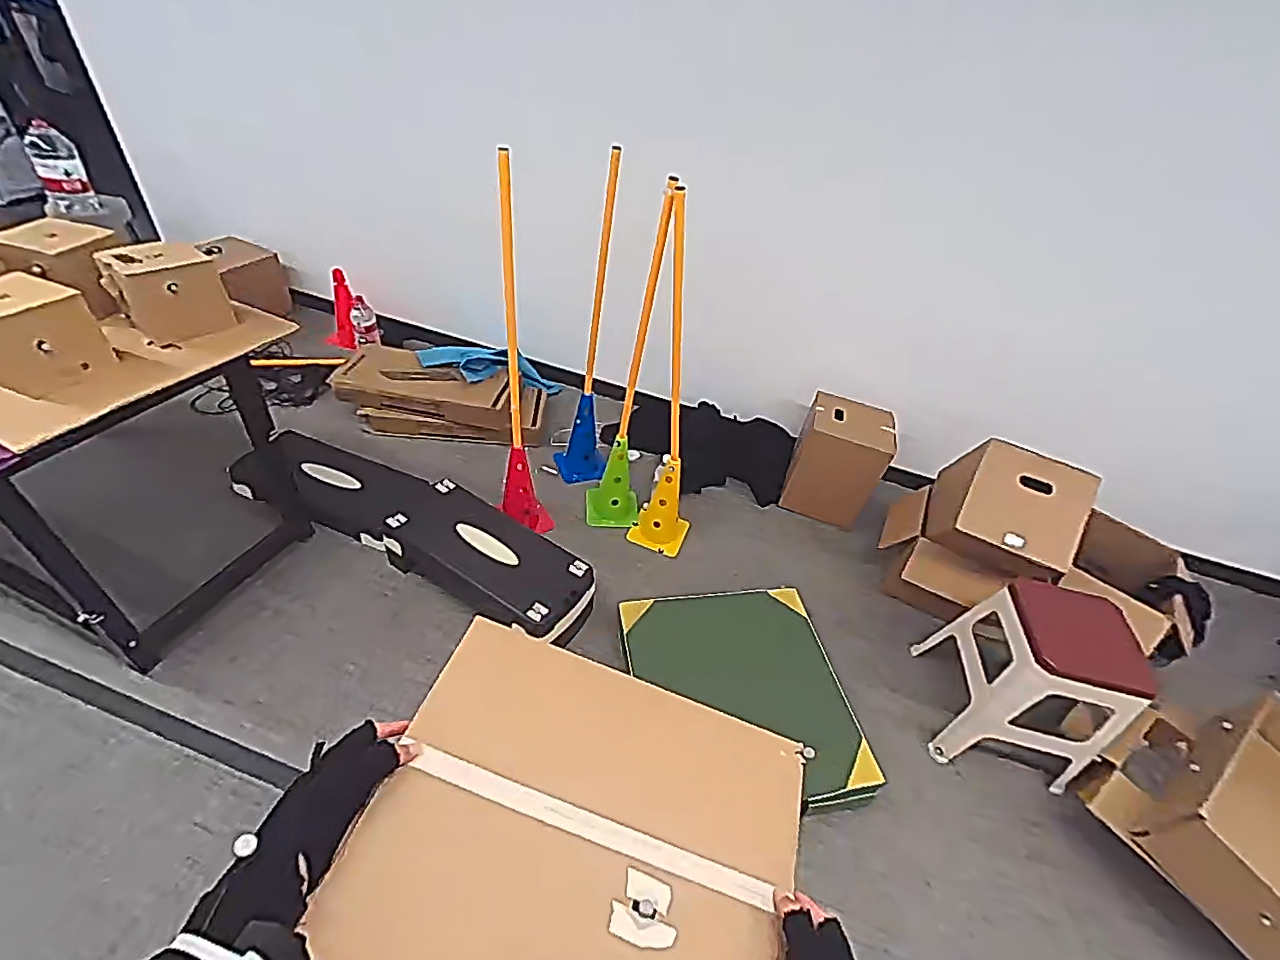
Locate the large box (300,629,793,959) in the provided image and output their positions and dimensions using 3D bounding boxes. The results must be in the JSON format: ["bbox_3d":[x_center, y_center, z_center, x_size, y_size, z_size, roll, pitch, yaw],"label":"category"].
[{"bbox_3d":[-0.083,0.441,0.630,0.408,0.320,0.320,21,45,3],"label":"large box"}]
